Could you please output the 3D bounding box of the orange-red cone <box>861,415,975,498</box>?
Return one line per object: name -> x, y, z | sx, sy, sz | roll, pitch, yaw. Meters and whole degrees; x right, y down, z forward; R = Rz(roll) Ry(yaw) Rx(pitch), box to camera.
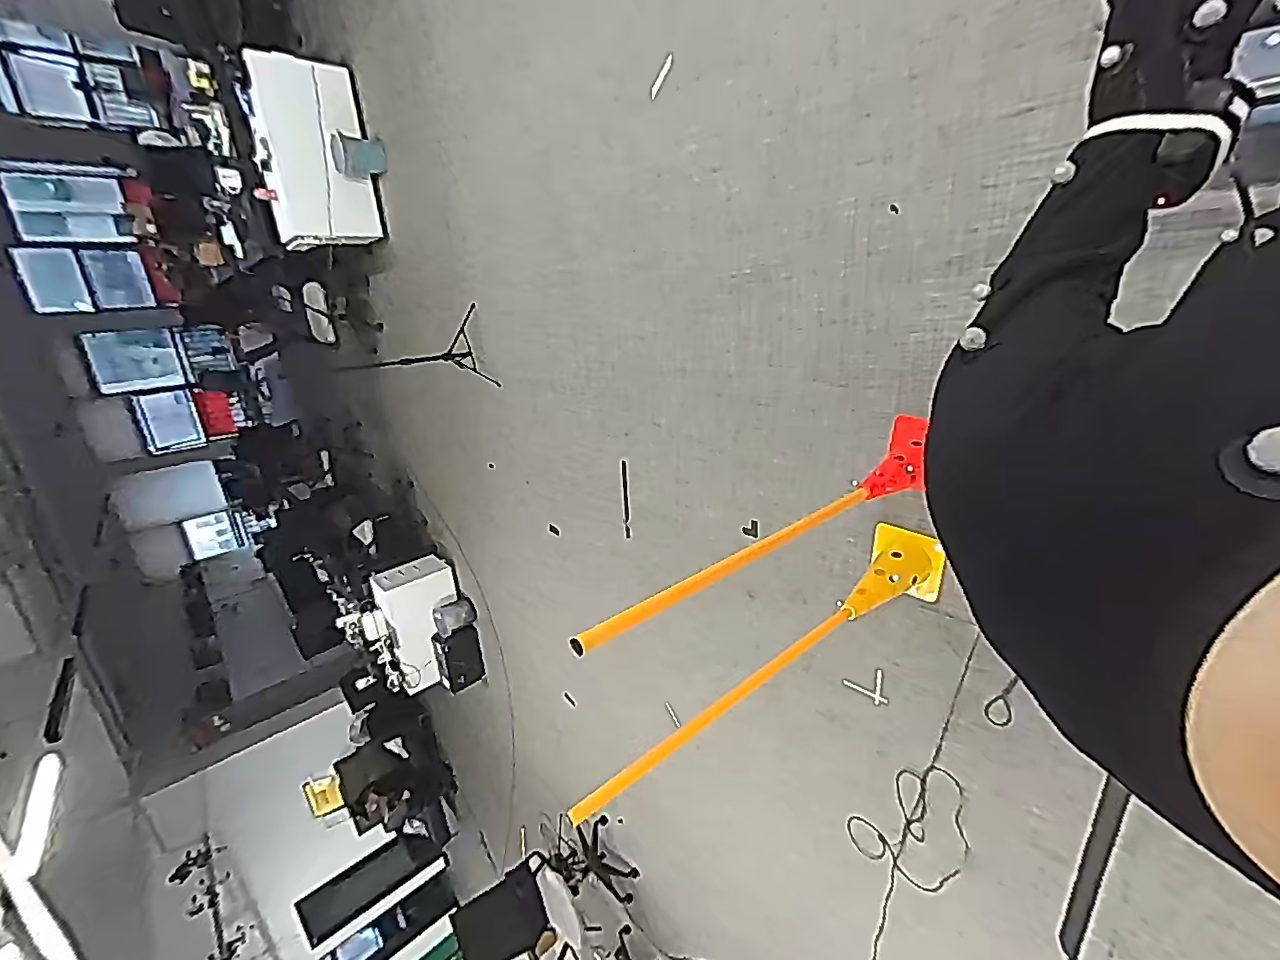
orange-red cone -> 0.652, -0.022, 1.352 | 0.198, 0.360, 0.199 | 25, 122, 42
